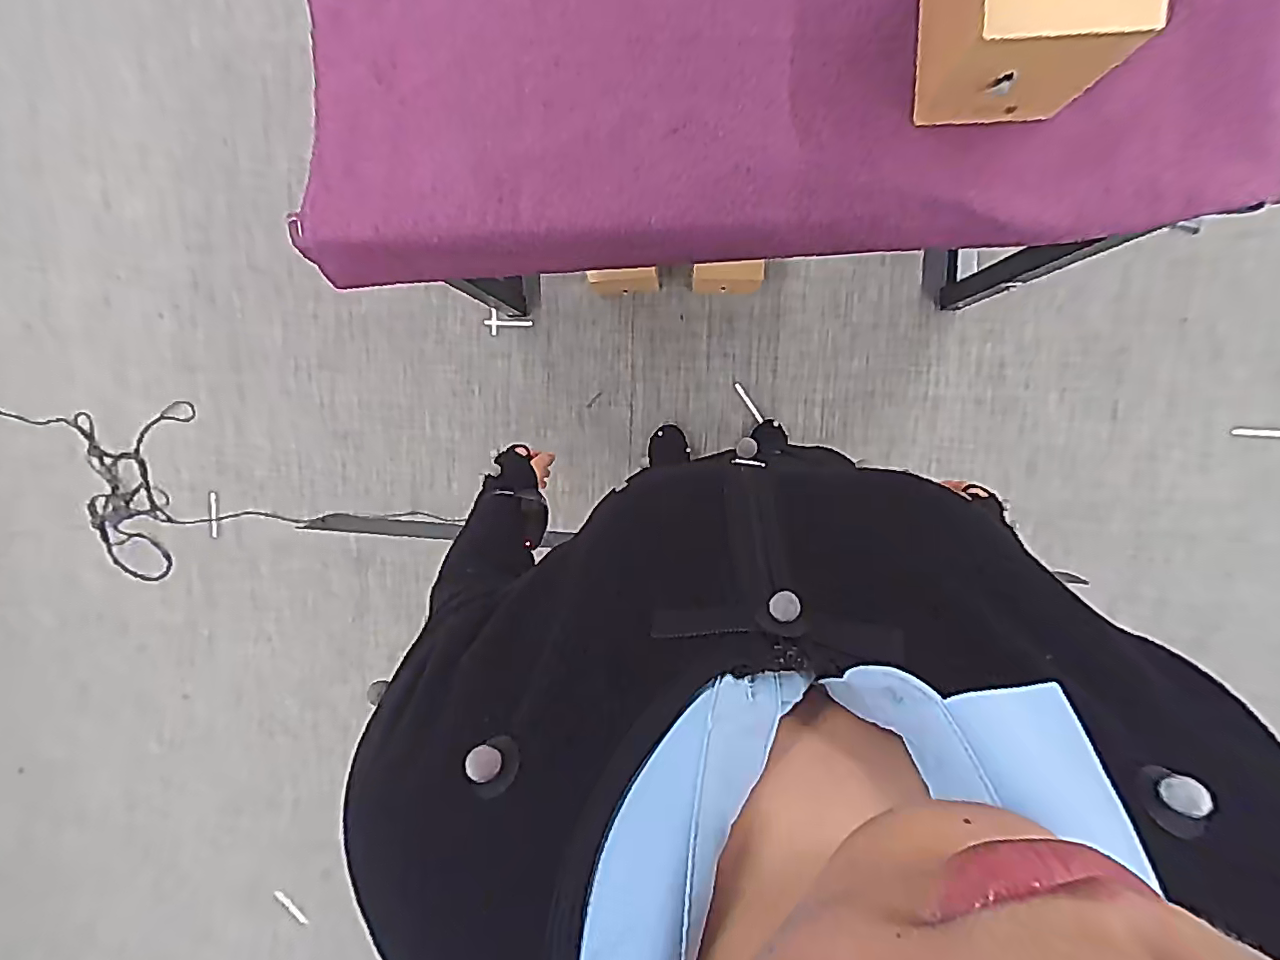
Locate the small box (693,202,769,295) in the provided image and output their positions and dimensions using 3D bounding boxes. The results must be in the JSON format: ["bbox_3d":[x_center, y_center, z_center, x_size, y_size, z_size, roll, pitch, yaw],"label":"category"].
[{"bbox_3d":[0.219,-0.565,1.342,0.168,0.176,0.179,4,96,4],"label":"small box"}]

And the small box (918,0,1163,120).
[{"bbox_3d":[0.423,-0.523,0.592,0.168,0.176,0.179,1,96,5],"label":"small box"}]
